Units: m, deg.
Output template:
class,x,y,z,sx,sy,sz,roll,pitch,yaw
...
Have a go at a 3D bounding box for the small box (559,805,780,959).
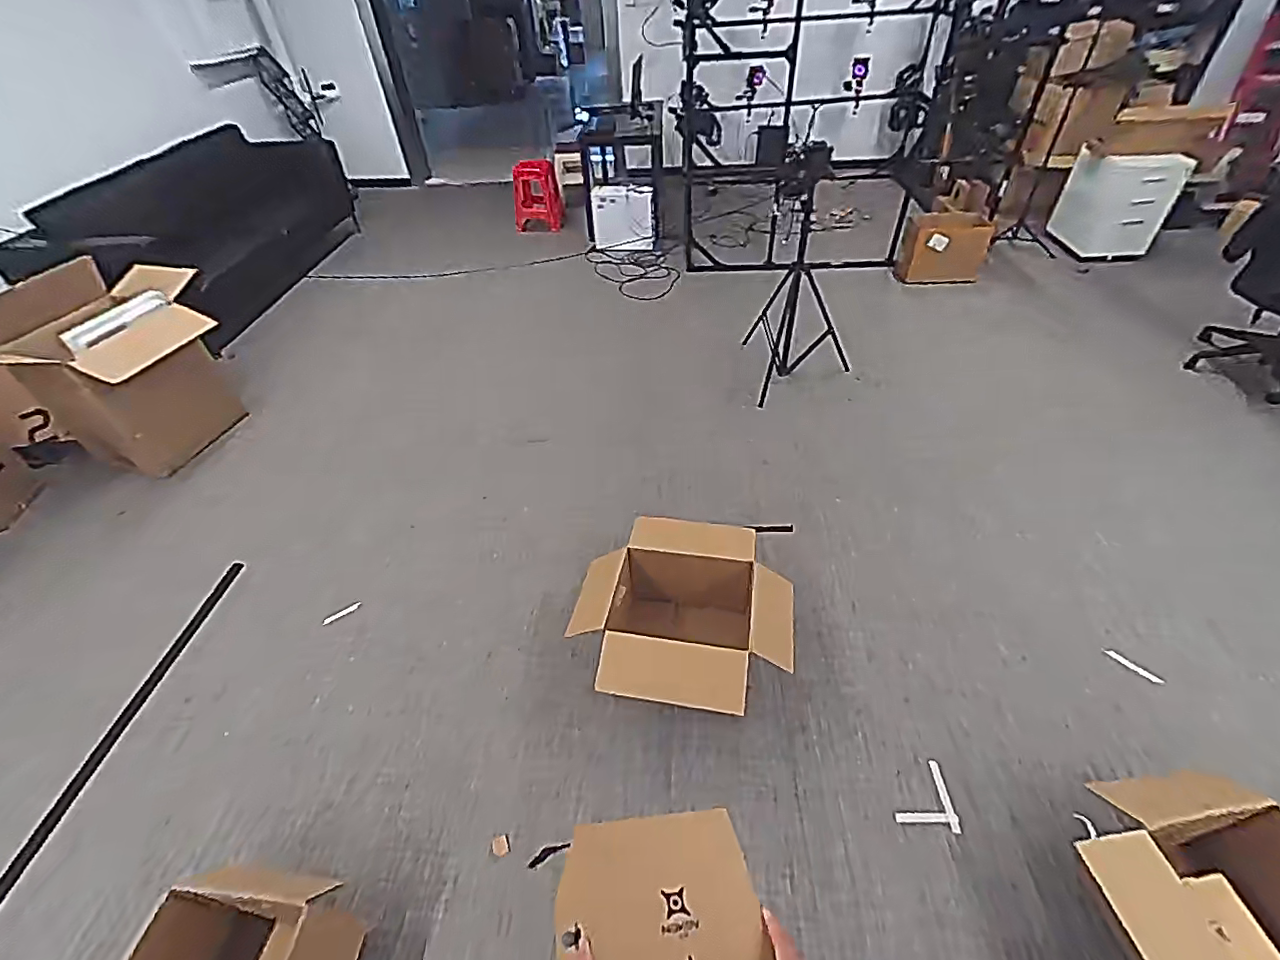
class,x,y,z,sx,sy,sz,roll,pitch,yaw
small box,0.017,0.457,0.527,0.168,0.176,0.179,3,31,-16
